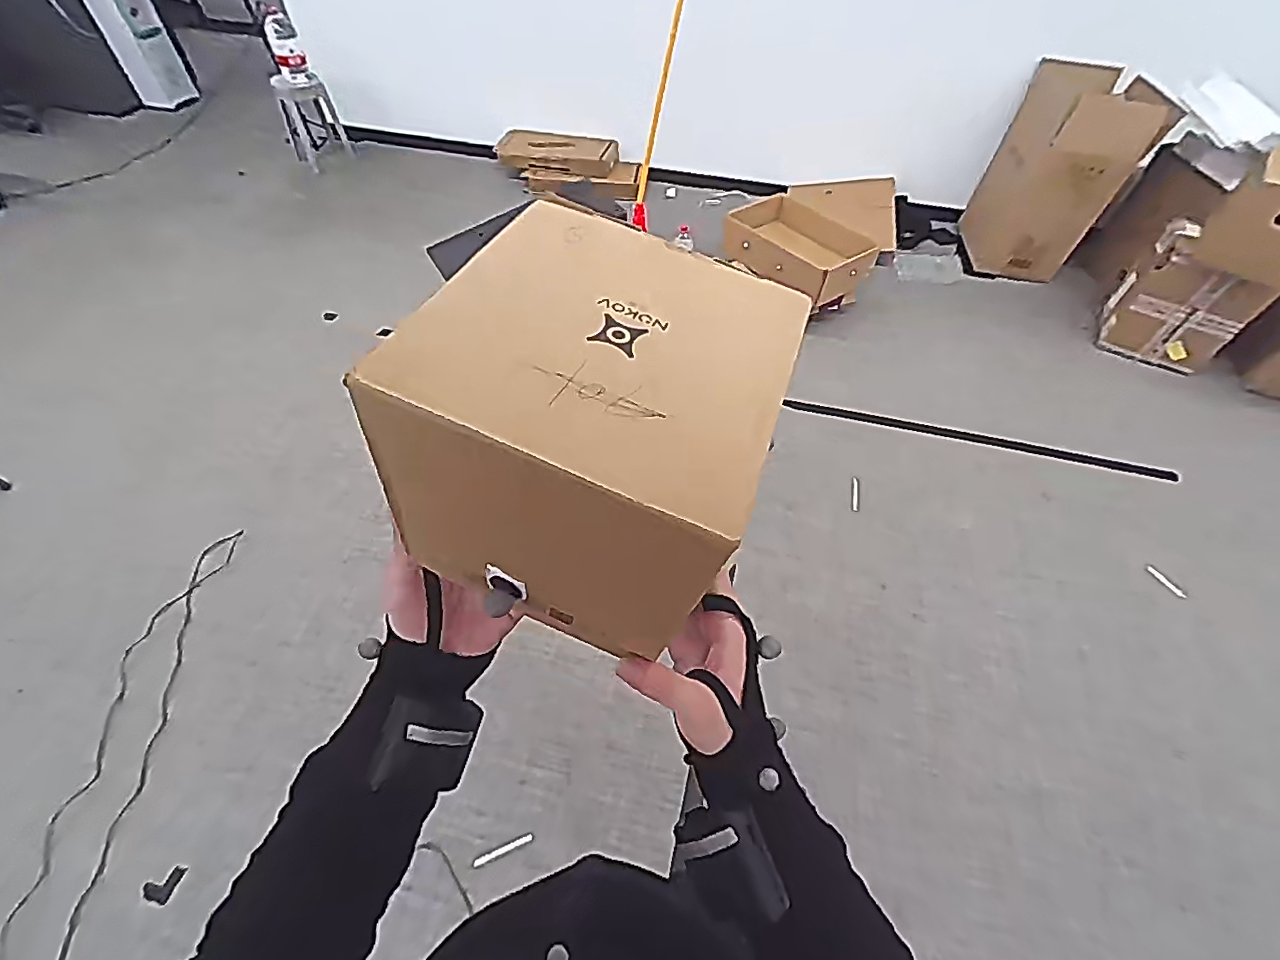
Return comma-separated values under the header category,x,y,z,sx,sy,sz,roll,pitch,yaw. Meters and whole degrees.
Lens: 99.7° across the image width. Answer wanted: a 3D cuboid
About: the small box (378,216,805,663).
category,x,y,z,sx,sy,sz,roll,pitch,yaw
small box,-0.022,-0.018,0.331,0.168,0.176,0.179,22,54,4
